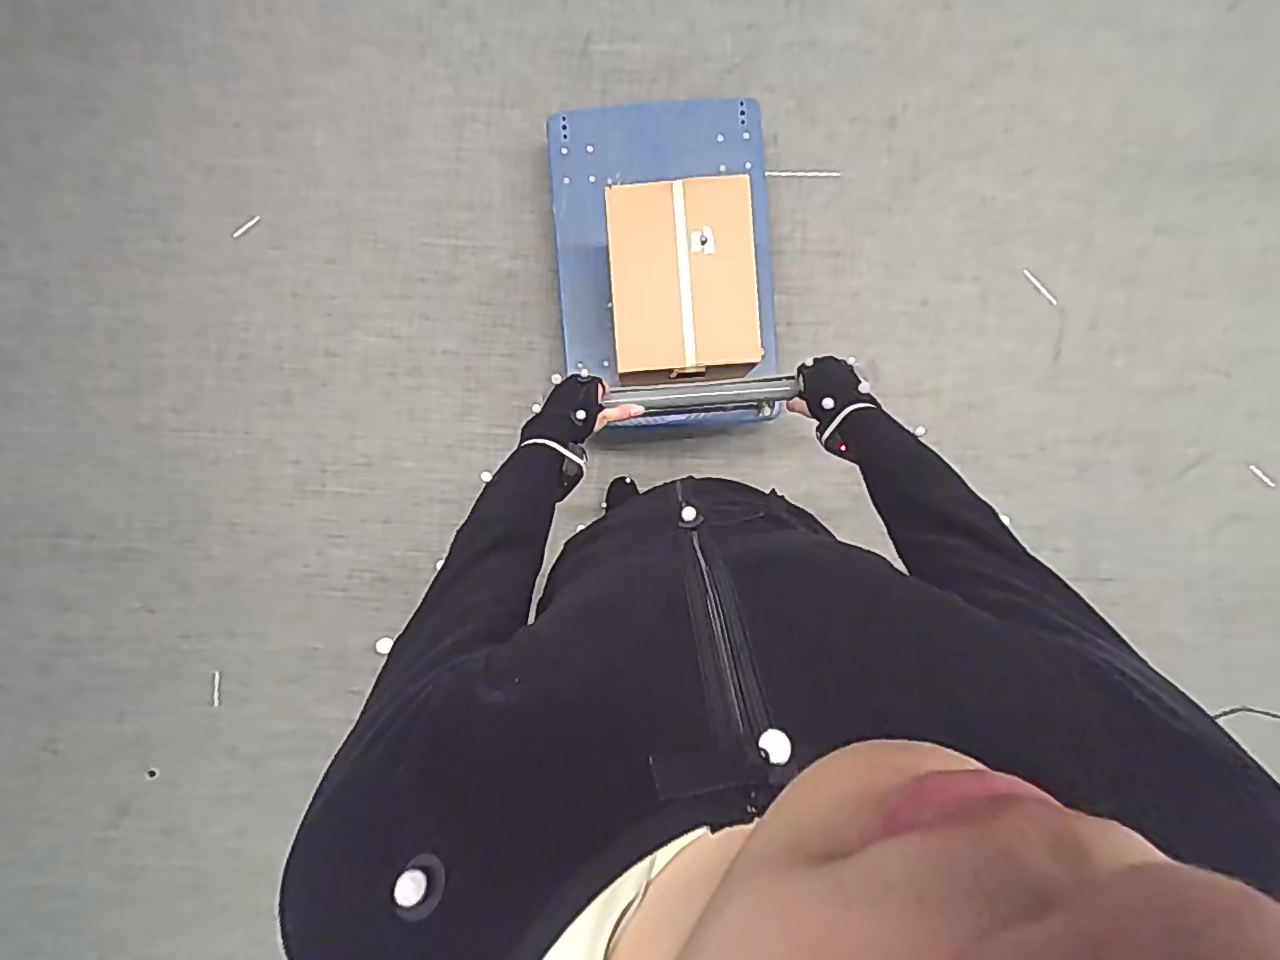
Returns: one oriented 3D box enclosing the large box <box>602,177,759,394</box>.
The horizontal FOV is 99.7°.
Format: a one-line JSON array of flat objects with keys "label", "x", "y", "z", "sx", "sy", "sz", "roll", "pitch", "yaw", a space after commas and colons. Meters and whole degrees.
[{"label": "large box", "x": 0.092, "y": -0.442, "z": 1.317, "sx": 0.320, "sy": 0.320, "sz": 0.408, "roll": -5, "pitch": 90, "yaw": 0}]
